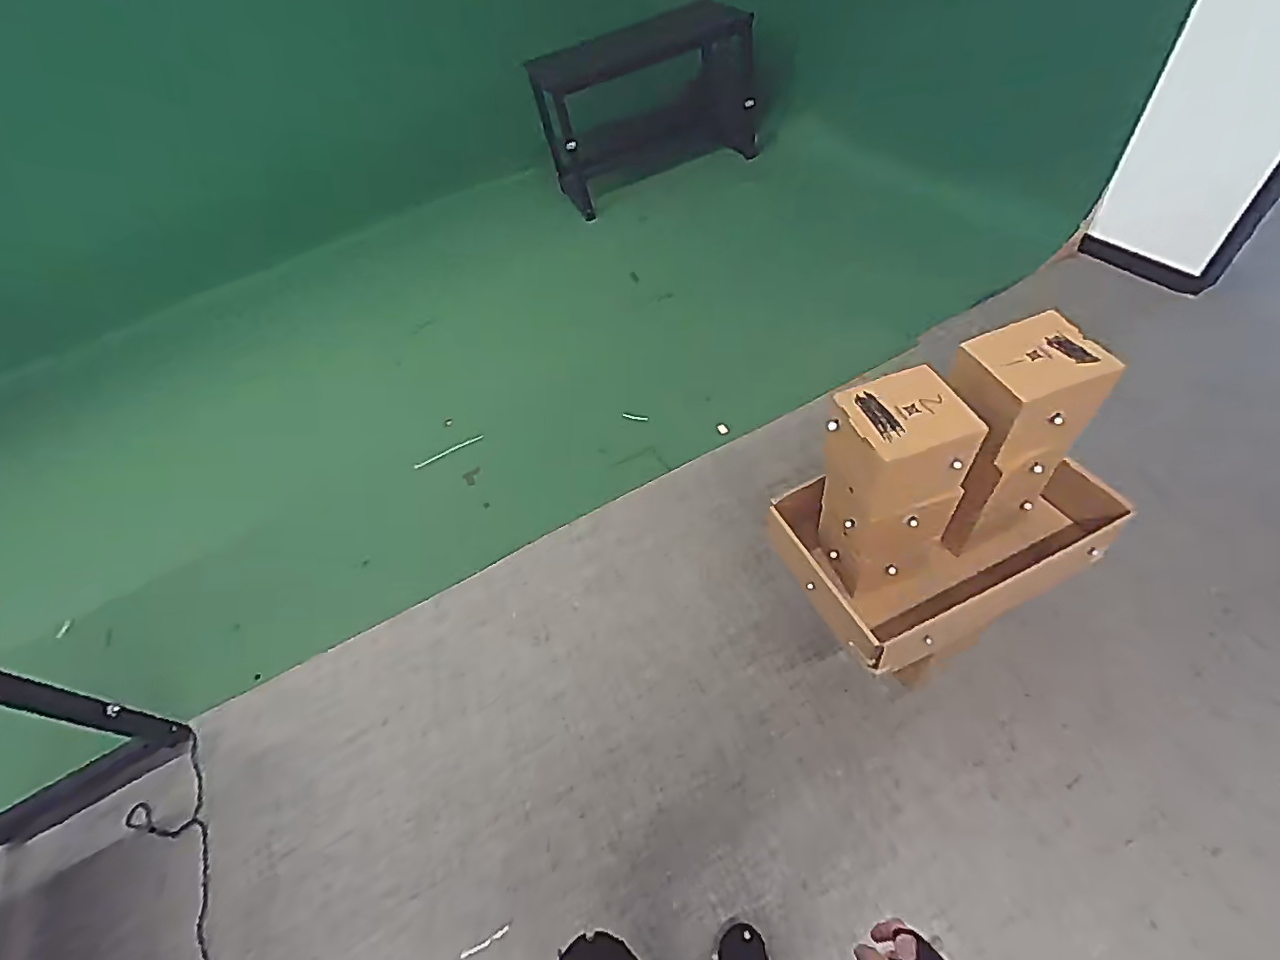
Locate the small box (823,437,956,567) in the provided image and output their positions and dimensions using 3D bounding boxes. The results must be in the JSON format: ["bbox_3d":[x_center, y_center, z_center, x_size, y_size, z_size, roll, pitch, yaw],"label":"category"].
[{"bbox_3d":[0.476,0.049,1.067,0.179,0.176,0.168,-16,51,-1],"label":"small box"}]

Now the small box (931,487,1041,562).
[{"bbox_3d":[0.739,0.053,1.219,0.179,0.176,0.168,-26,50,-6],"label":"small box"}]

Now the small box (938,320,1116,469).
[{"bbox_3d":[0.675,-0.149,0.971,0.179,0.176,0.168,-20,51,0],"label":"small box"}]

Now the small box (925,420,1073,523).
[{"bbox_3d":[0.705,-0.045,1.094,0.179,0.176,0.168,-27,52,-6],"label":"small box"}]
